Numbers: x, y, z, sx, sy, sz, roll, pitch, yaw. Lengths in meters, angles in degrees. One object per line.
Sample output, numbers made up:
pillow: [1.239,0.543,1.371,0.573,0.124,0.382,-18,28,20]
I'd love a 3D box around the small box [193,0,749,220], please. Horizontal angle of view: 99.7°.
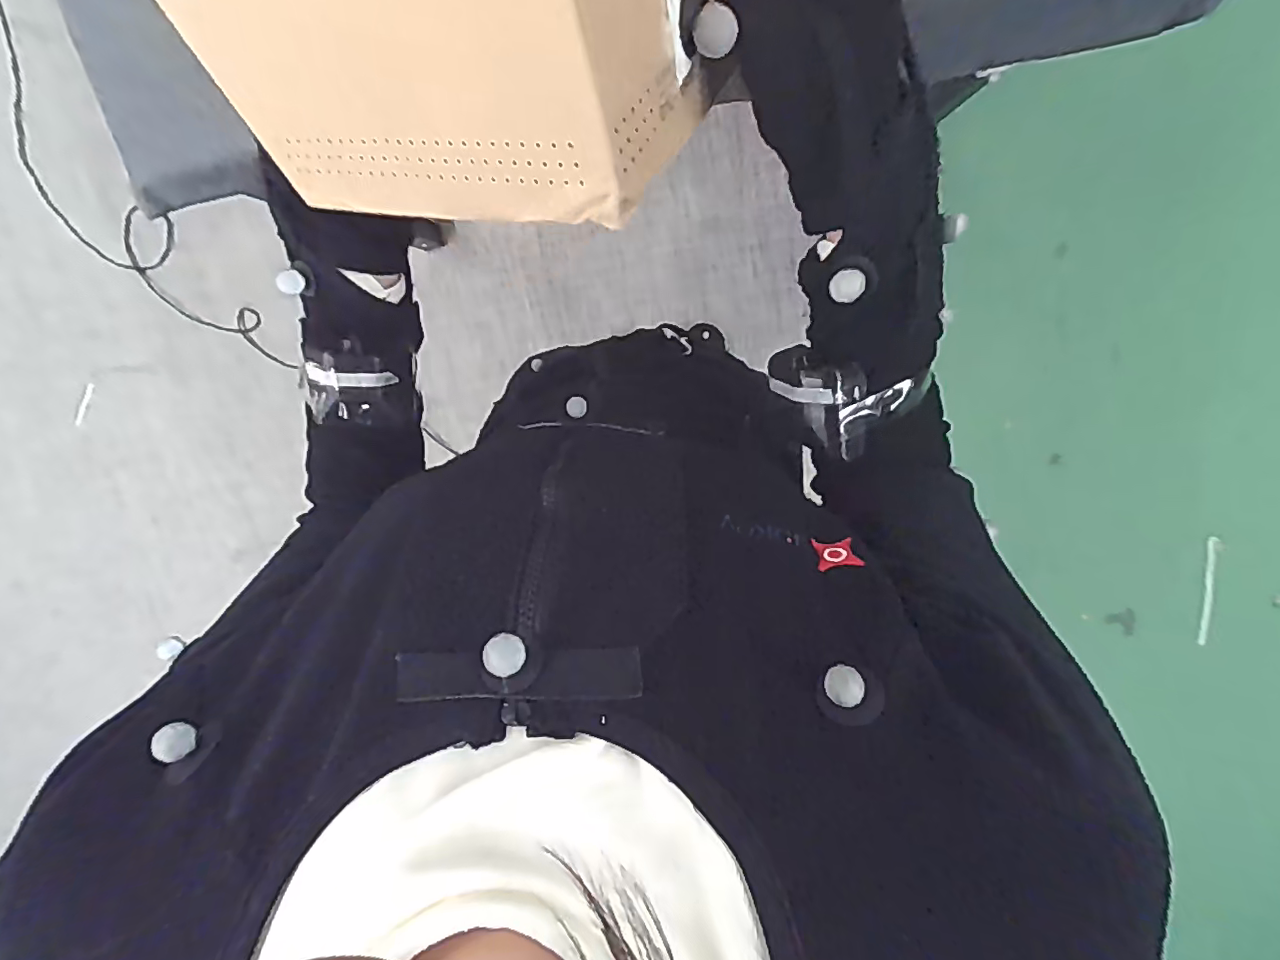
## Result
small box: [-0.066,-0.223,0.203,0.179,0.176,0.168,16,63,21]
